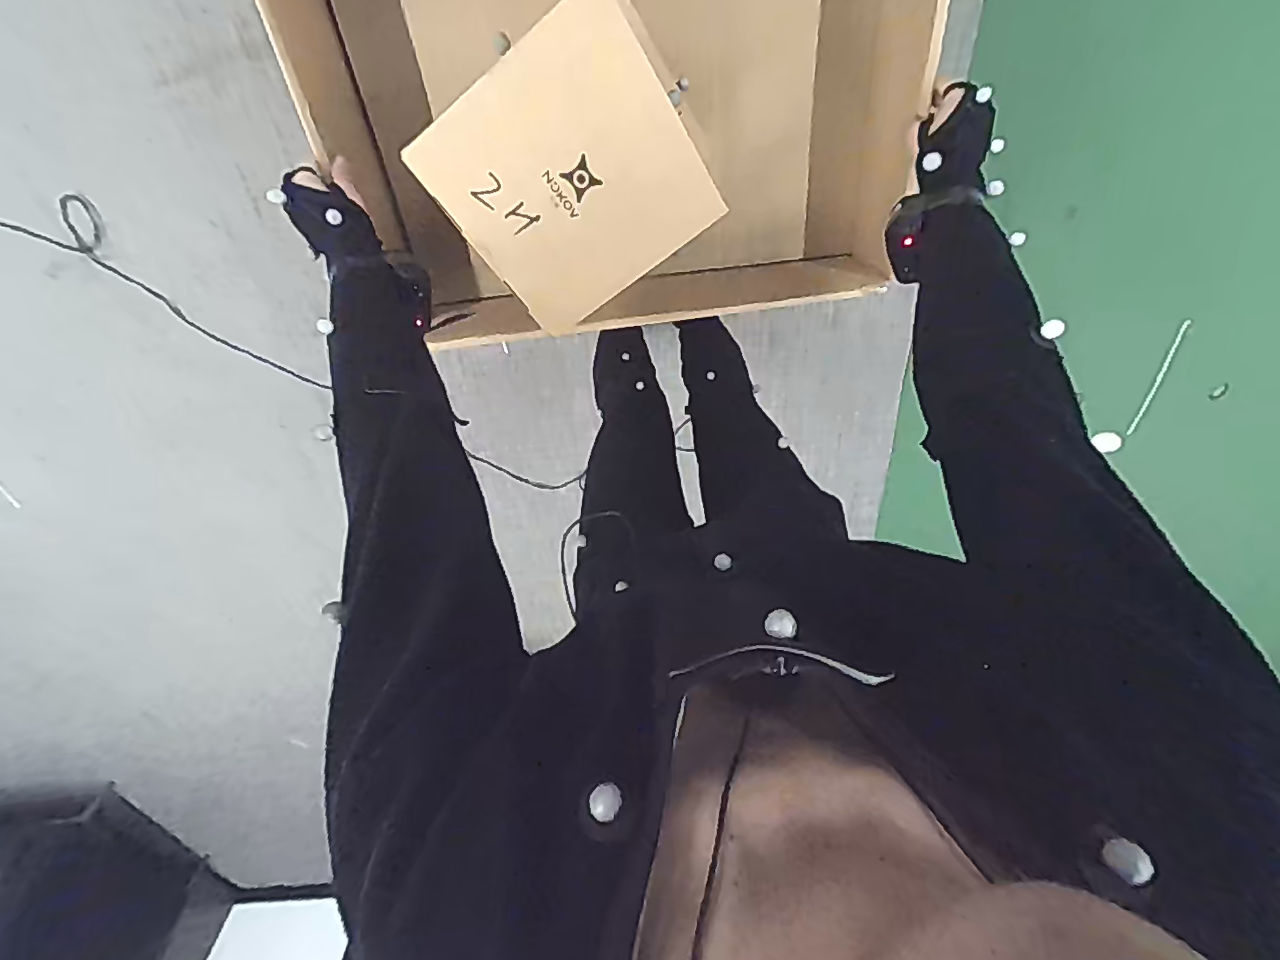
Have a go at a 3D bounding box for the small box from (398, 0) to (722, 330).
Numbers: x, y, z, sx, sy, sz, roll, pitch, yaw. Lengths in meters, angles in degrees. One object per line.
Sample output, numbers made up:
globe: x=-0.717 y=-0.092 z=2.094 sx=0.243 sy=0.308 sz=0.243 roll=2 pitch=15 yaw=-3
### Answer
small box: x=-0.058 y=-0.265 z=0.450 sx=0.179 sy=0.176 sz=0.168 roll=-30 pitch=122 yaw=17
